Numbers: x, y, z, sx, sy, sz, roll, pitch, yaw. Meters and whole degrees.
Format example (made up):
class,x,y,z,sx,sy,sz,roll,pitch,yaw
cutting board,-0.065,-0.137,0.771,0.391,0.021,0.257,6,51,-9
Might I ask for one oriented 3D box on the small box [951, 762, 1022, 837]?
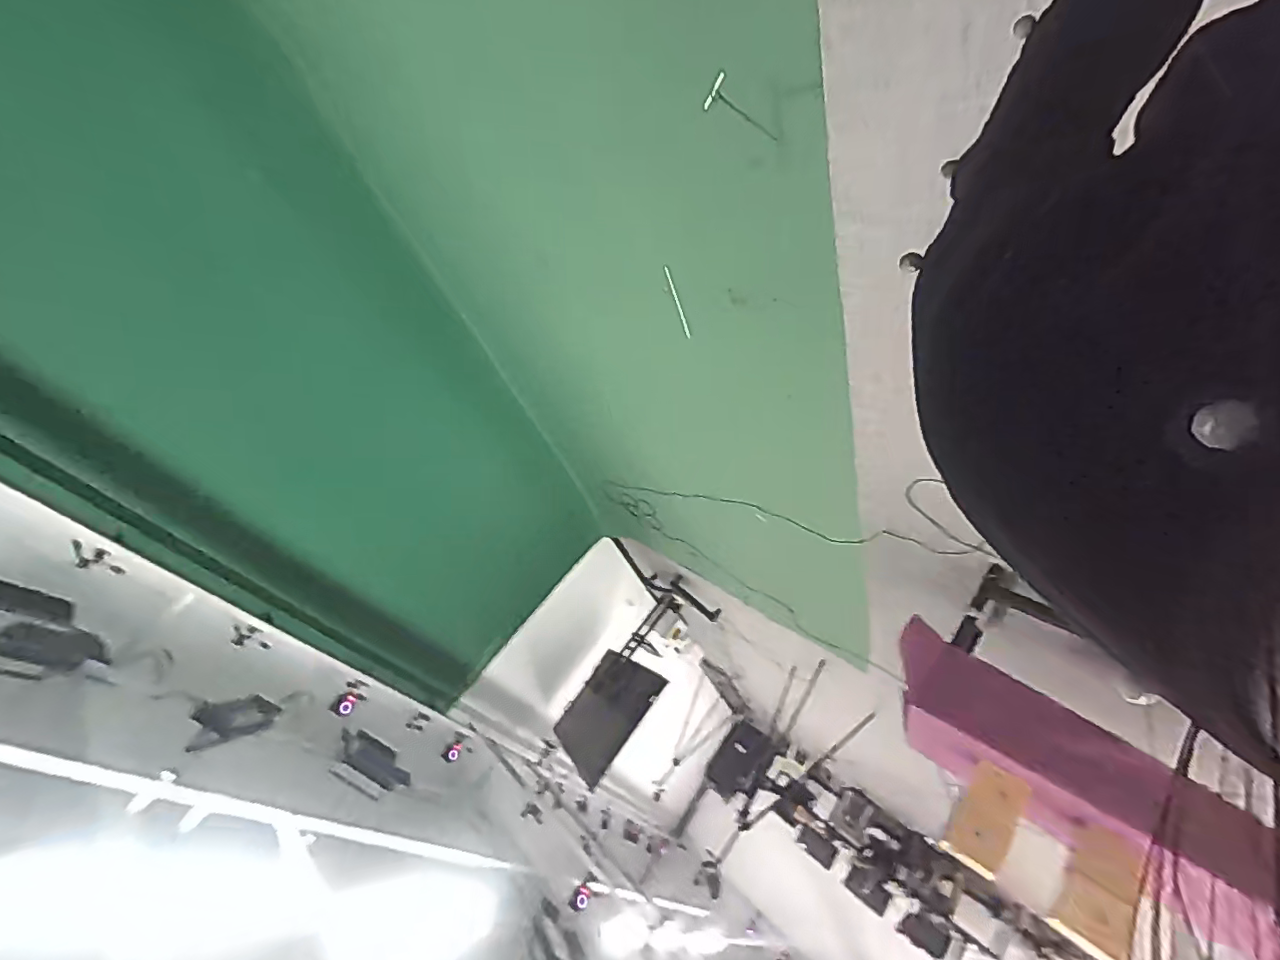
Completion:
class,x,y,z,sx,sy,sz,roll,pitch,yaw
small box,1.281,1.175,1.998,0.168,0.176,0.179,26,156,36

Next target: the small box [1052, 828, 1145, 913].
class,x,y,z,sx,sy,sz,roll,pitch,yaw
small box,1.523,1.293,1.799,0.179,0.176,0.168,26,156,37

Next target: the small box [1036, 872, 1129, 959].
class,x,y,z,sx,sy,sz,roll,pitch,yaw
small box,1.423,1.409,1.740,0.179,0.176,0.168,26,155,37
